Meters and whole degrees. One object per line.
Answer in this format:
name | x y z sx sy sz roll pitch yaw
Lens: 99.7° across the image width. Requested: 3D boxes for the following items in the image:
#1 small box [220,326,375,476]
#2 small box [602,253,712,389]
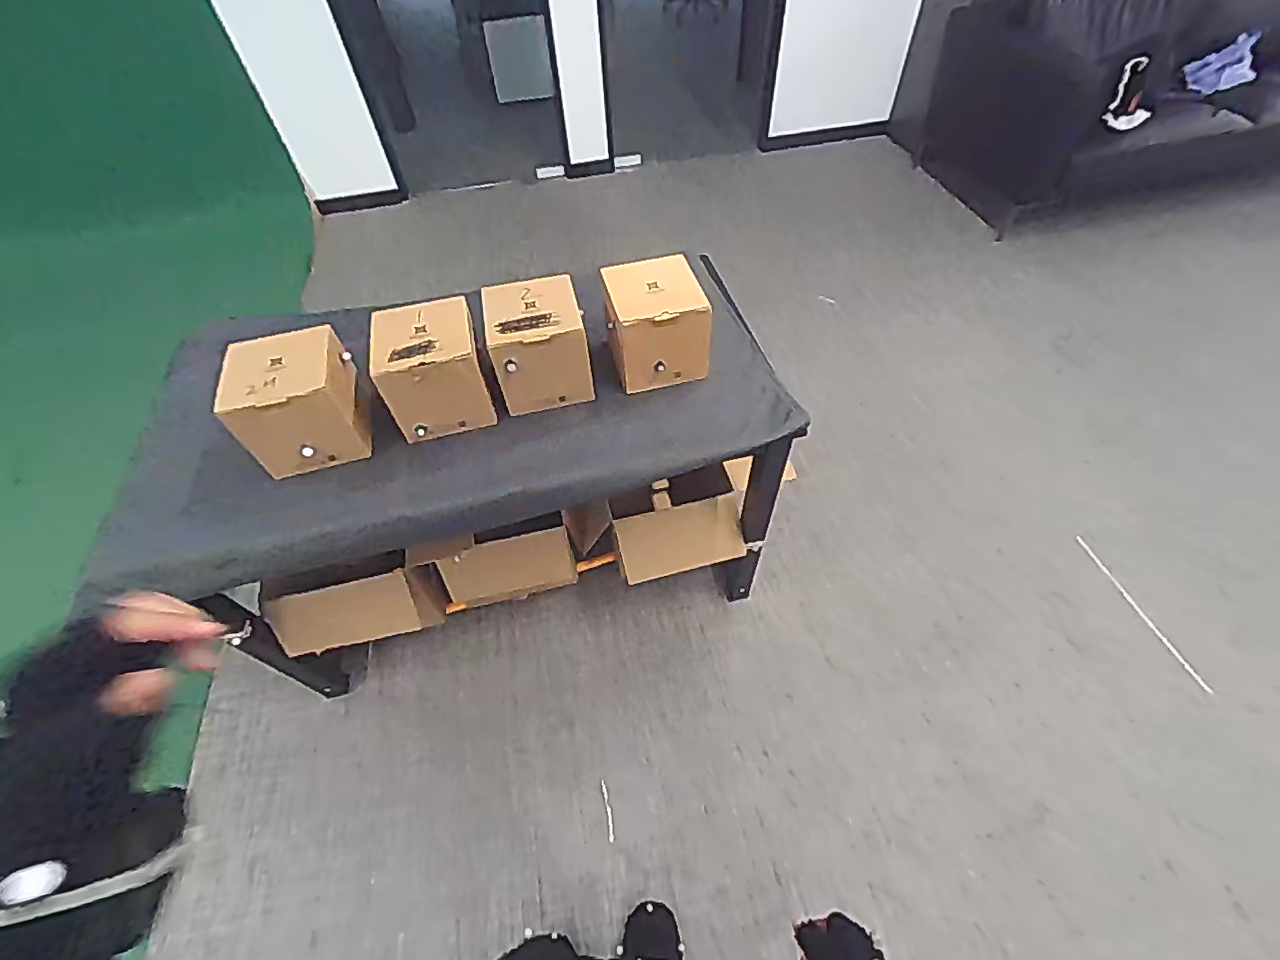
small box | -0.584 -0.137 0.947 0.168 0.176 0.179 -16 54 -9
small box | 0.028 -0.304 1.041 0.168 0.176 0.179 -13 54 -7
